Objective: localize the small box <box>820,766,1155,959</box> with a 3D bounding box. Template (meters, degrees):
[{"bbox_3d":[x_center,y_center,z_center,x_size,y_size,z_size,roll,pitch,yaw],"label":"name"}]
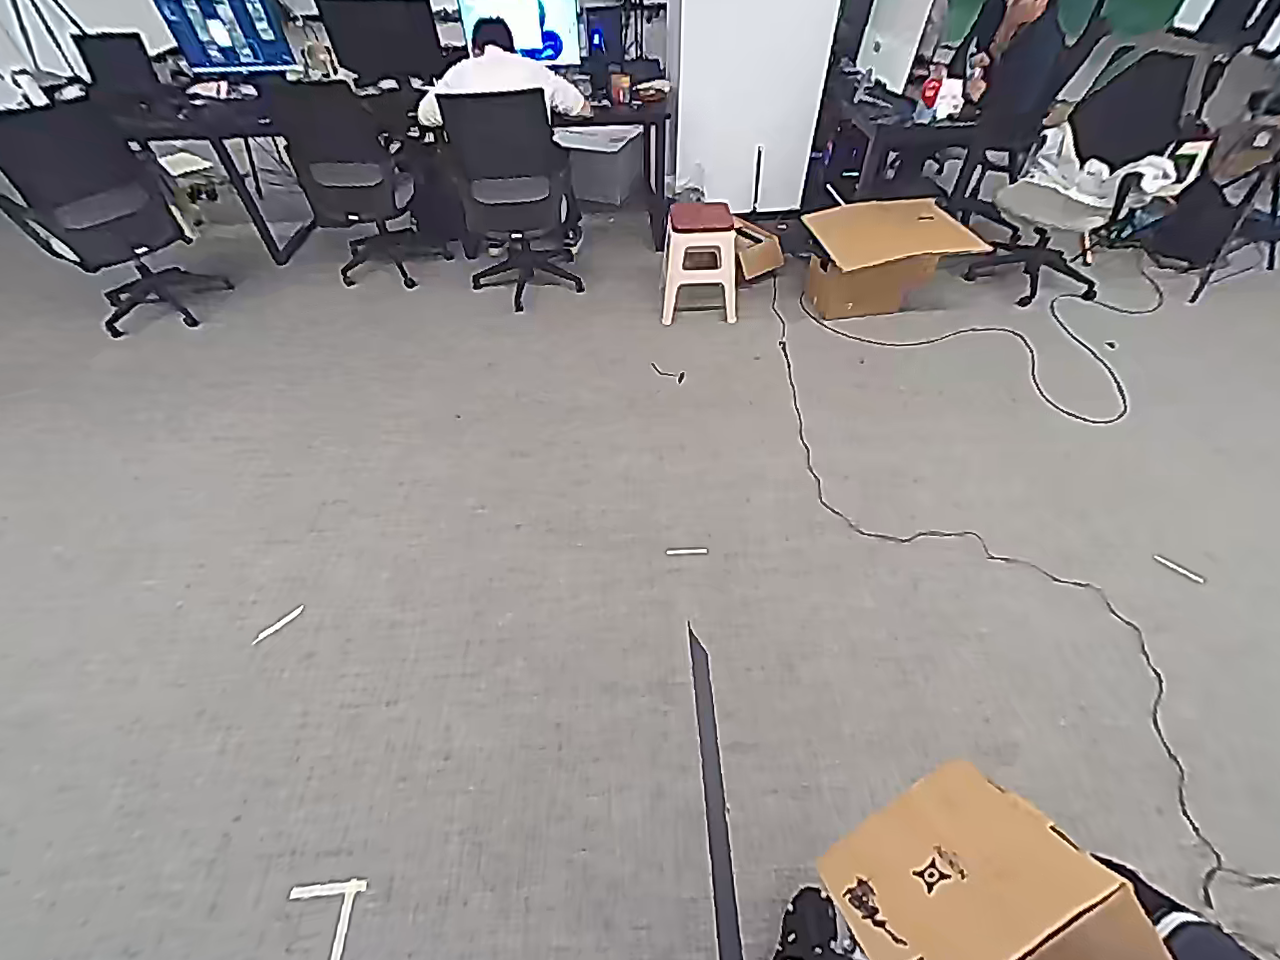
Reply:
[{"bbox_3d":[0.292,0.393,0.449,0.179,0.168,0.176,-32,92,-5],"label":"small box"}]
